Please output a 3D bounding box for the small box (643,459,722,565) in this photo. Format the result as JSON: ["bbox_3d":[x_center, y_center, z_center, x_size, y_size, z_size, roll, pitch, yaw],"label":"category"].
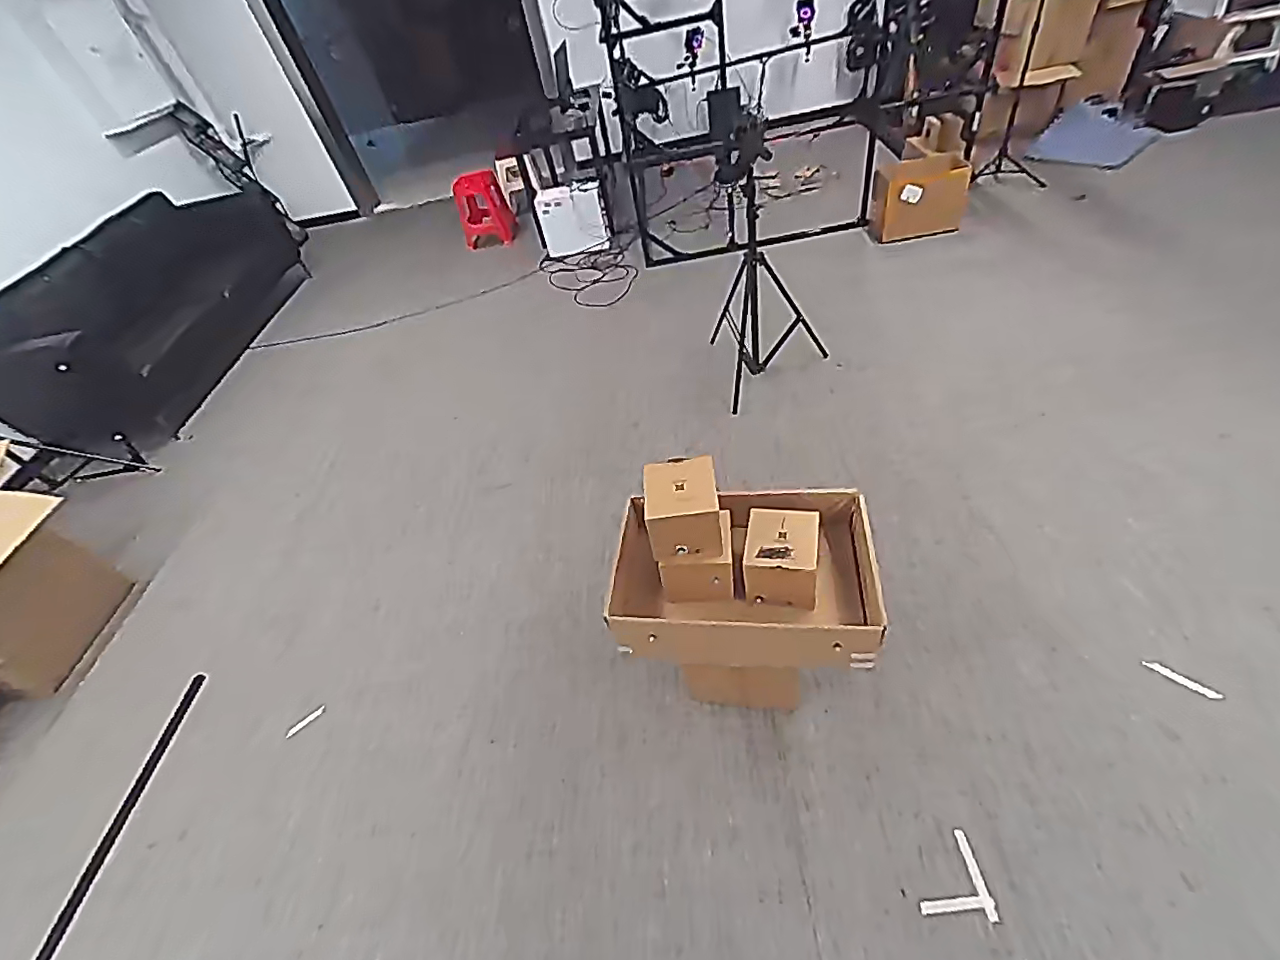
[{"bbox_3d":[0.100,0.077,1.281,0.168,0.176,0.179,-8,45,6],"label":"small box"}]
